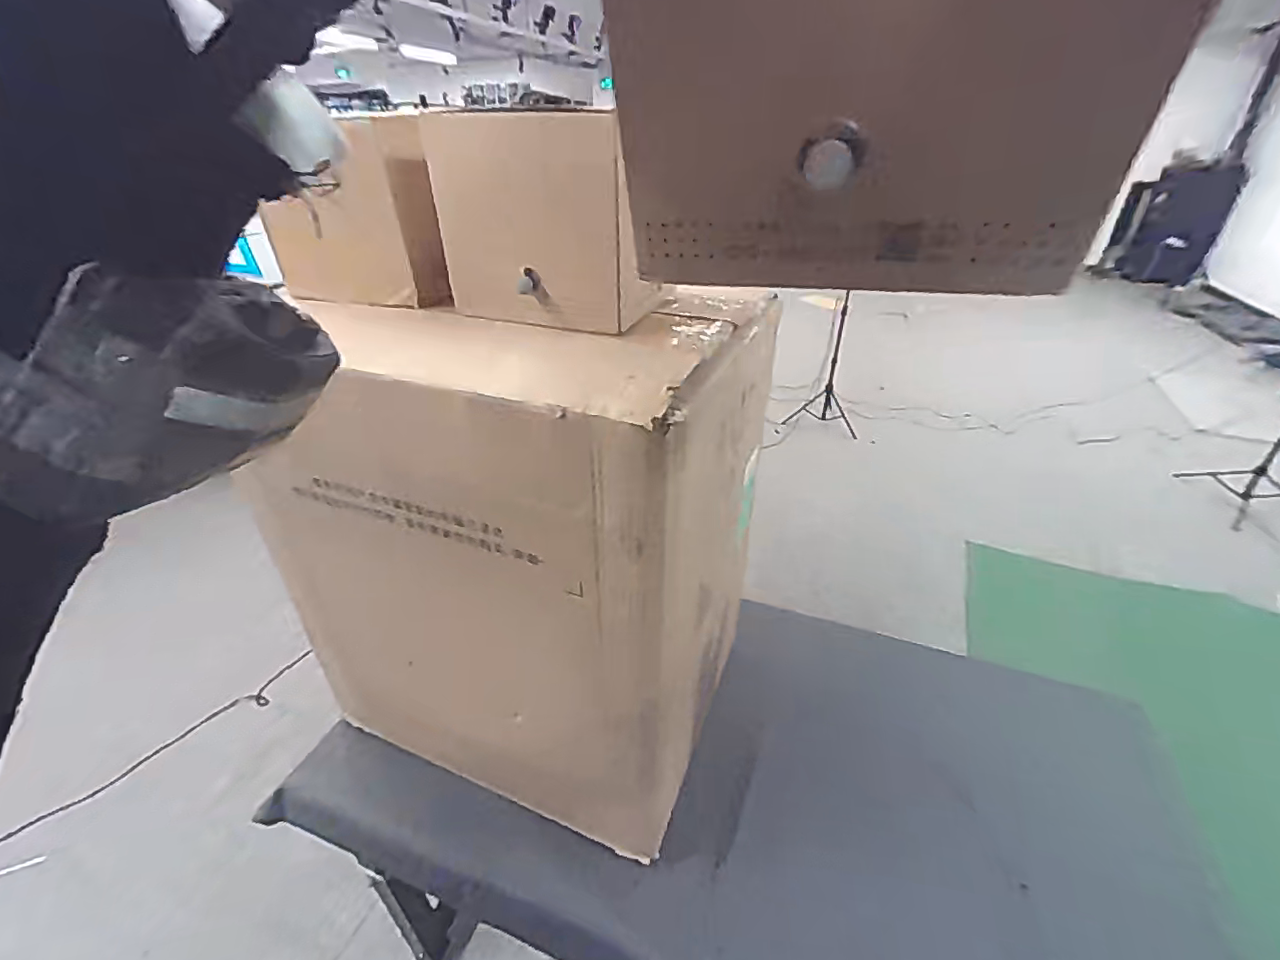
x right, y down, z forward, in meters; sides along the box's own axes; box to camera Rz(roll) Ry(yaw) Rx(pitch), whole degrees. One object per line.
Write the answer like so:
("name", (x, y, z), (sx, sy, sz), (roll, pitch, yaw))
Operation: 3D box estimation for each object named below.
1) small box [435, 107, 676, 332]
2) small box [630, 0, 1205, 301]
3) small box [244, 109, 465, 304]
("small box", (-0.062, -0.255, 0.524), (0.179, 0.176, 0.168), (14, 36, 16))
("small box", (0.094, -0.196, 0.213), (0.168, 0.176, 0.179), (9, 53, 16))
("small box", (-0.267, -0.301, 0.591), (0.179, 0.176, 0.168), (11, 37, 16))
